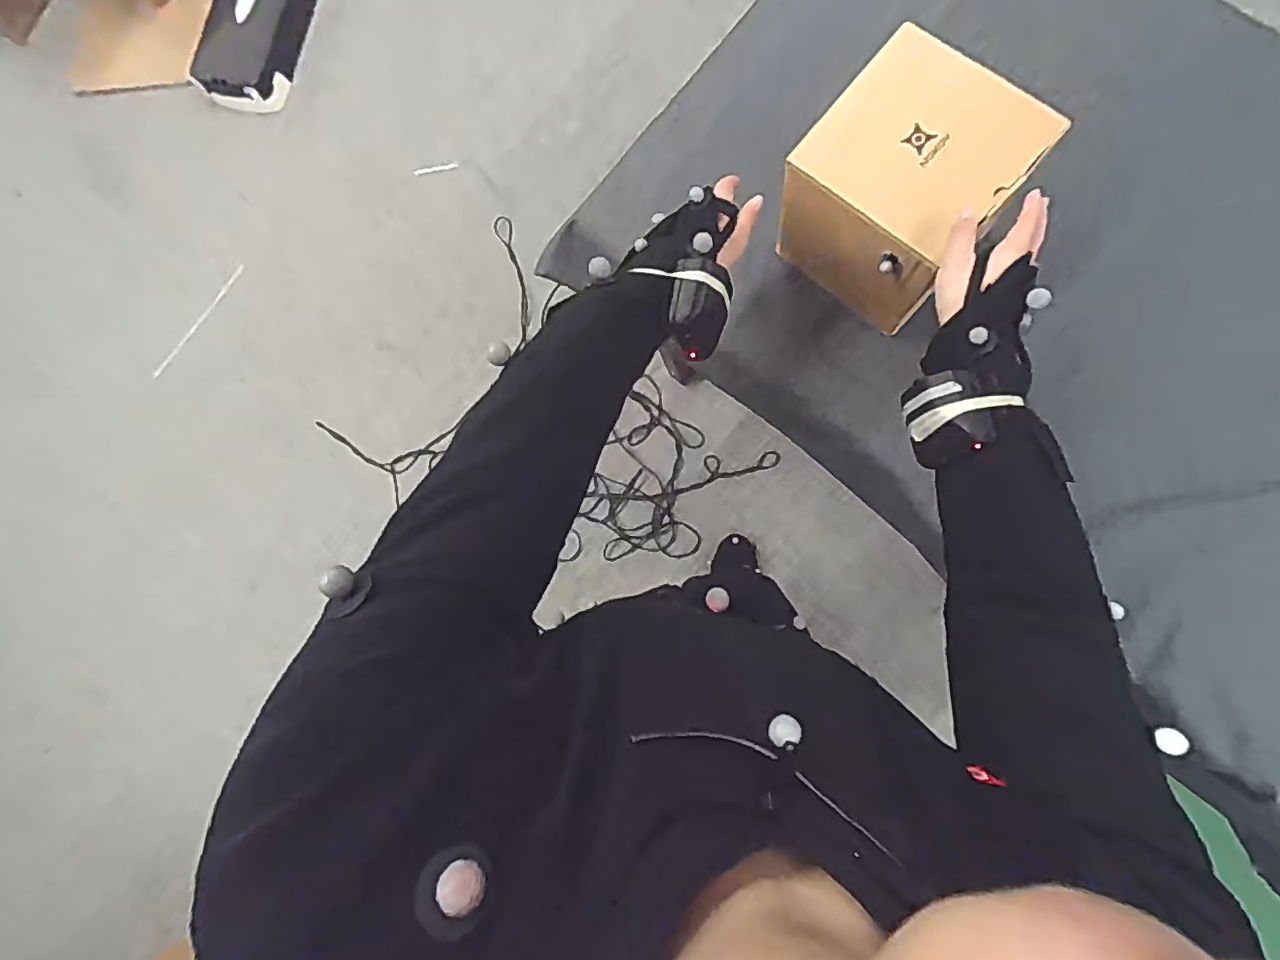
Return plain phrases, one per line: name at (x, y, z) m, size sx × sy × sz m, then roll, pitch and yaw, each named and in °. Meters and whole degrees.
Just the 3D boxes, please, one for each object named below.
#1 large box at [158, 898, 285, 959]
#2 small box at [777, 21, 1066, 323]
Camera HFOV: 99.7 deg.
large box at (-1.098, 1.387, 1.333) m, size 0.320 × 0.320 × 0.408 m, roll -41°, pitch 77°, yaw 4°
small box at (0.260, -0.294, 0.555) m, size 0.179 × 0.176 × 0.168 m, roll 42°, pitch 93°, yaw 11°
